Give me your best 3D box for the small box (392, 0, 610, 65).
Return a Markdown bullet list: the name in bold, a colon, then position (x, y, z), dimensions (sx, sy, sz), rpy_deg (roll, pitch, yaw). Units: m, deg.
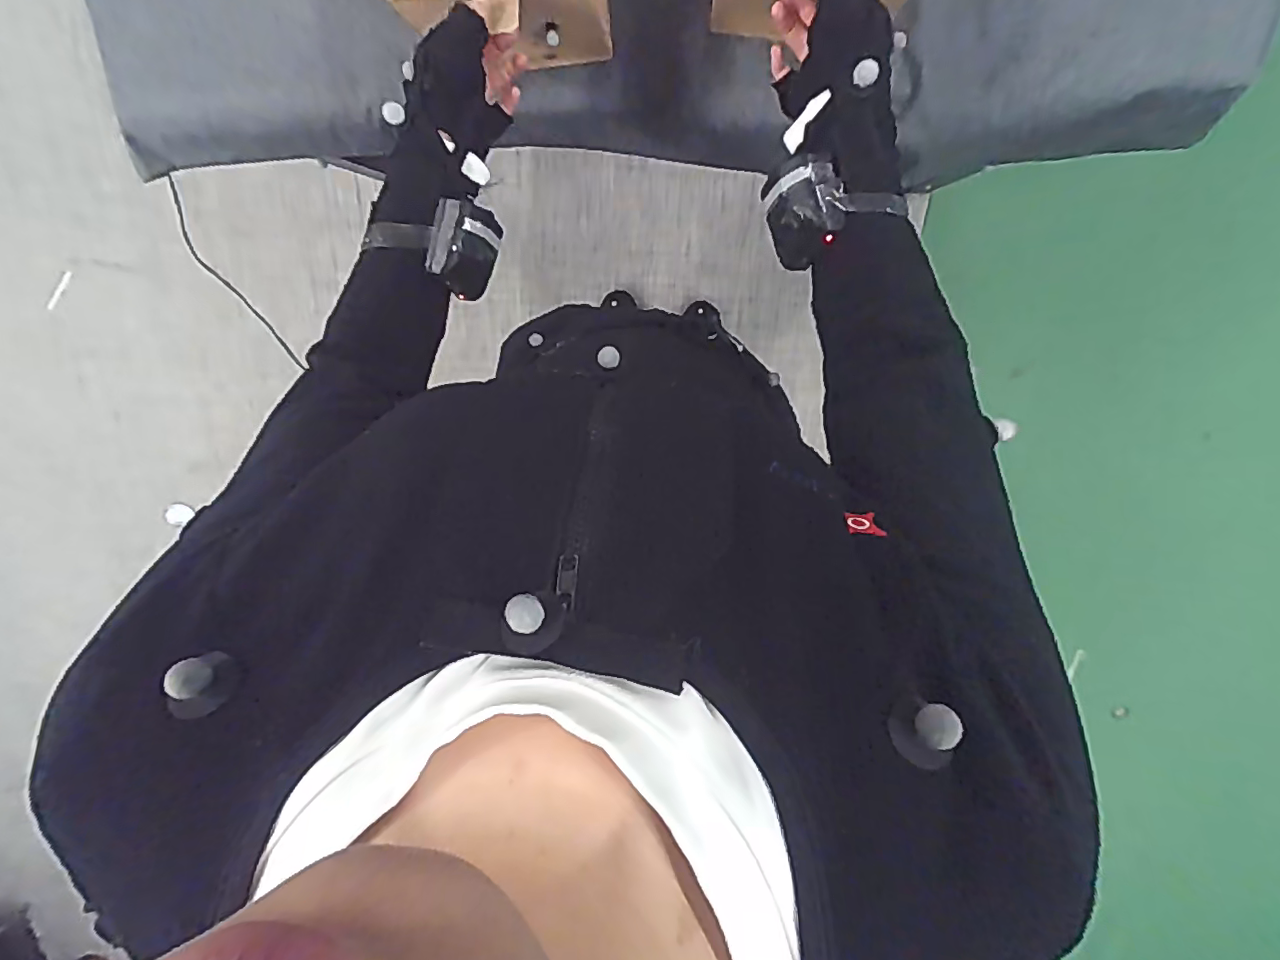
- **small box**: position (-0.122, -0.494, 0.469), dimensions (0.168, 0.176, 0.179), rpy_deg (-3, 108, 5)
